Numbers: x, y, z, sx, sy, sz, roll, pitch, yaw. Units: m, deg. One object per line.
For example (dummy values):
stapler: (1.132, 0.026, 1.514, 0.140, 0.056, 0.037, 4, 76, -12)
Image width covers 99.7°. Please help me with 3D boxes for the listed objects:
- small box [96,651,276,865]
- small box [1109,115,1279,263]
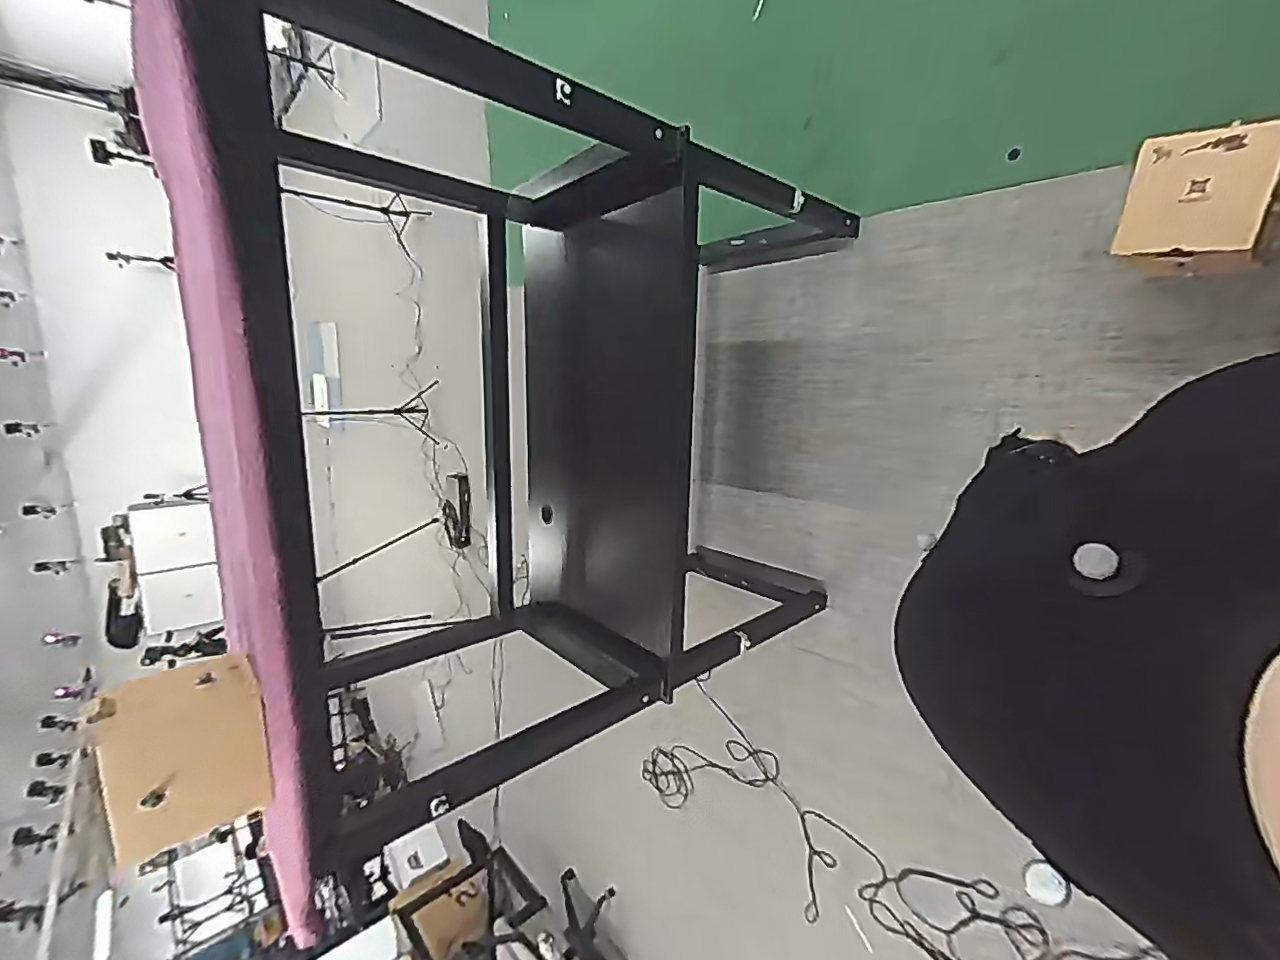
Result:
small box: (-0.631, 0.372, 0.762, 0.168, 0.176, 0.179, 11, 104, 46)
small box: (0.898, -0.449, 0.865, 0.168, 0.176, 0.179, 23, 113, 46)
